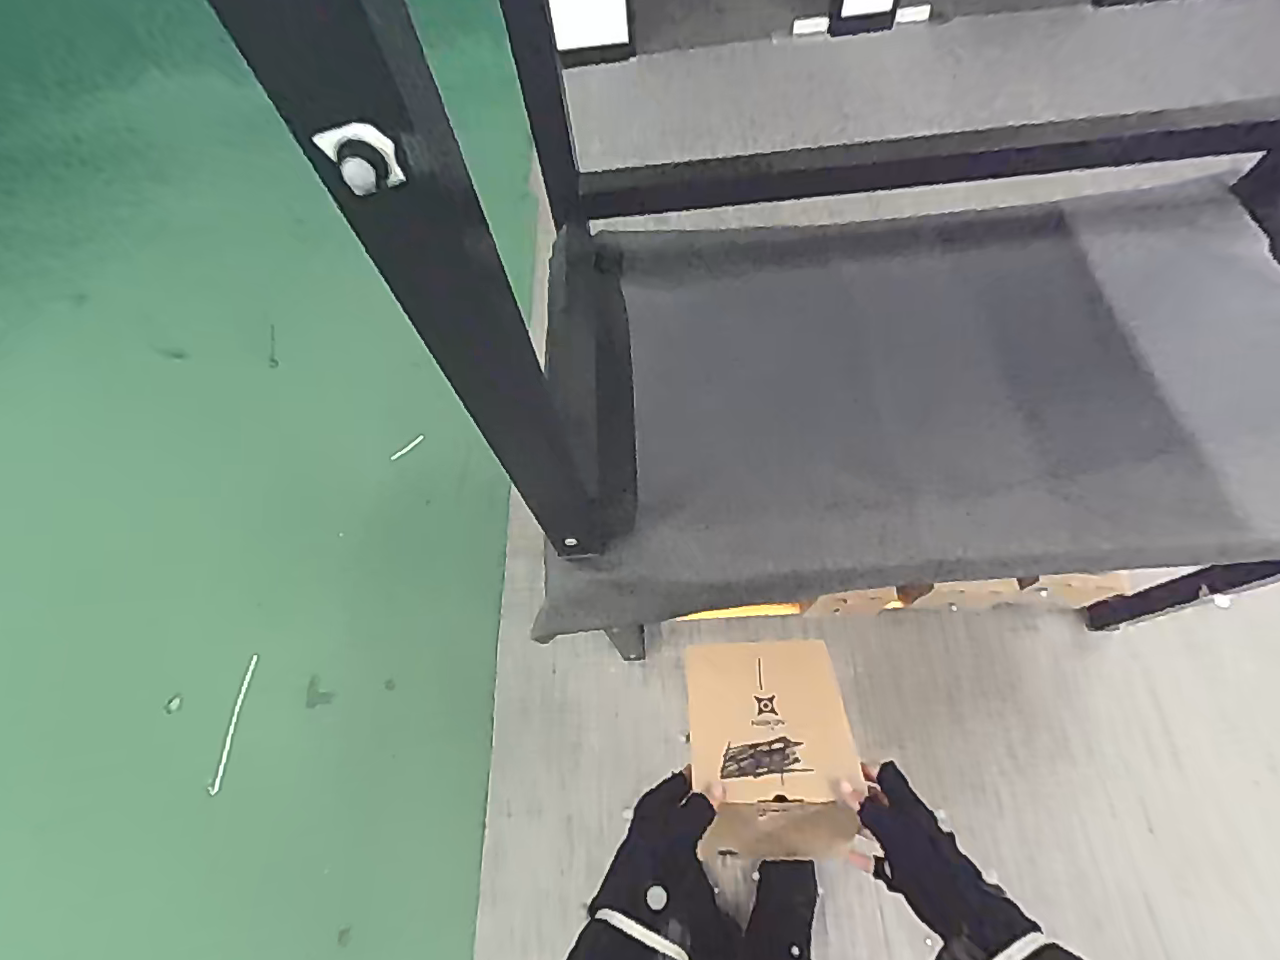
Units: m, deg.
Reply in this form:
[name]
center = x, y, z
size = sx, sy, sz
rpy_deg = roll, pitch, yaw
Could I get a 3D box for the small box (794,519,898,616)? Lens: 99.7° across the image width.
[small box]
center = 0.449, 0.198, 1.208
size = 0.168, 0.176, 0.179
rpy_deg = -2, 65, 4
